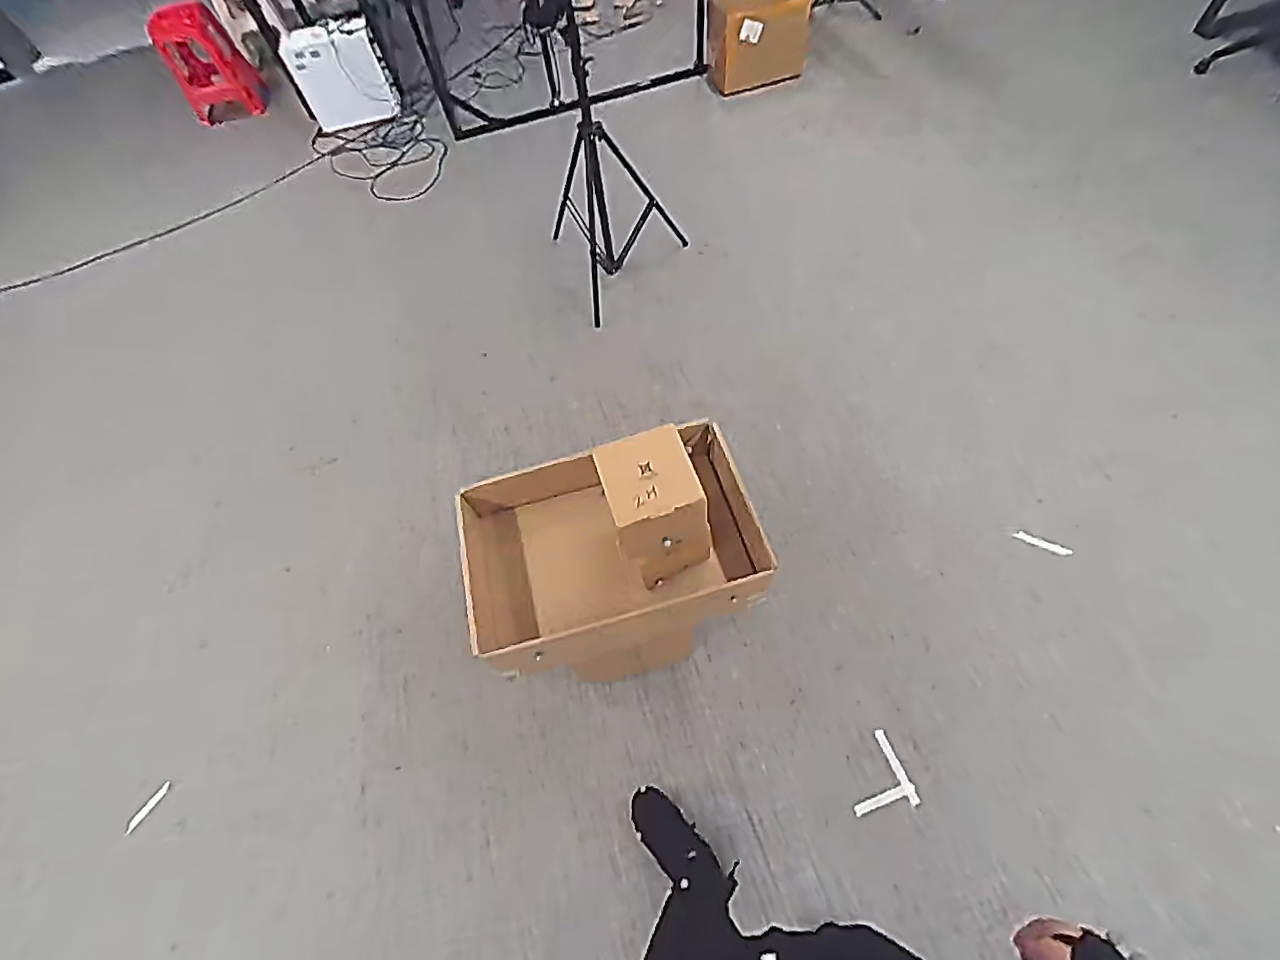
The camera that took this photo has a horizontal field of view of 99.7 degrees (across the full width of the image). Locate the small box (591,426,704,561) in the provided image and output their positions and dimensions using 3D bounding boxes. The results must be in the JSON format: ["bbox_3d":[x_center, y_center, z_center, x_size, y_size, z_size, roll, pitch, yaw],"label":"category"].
[{"bbox_3d":[0.016,0.031,1.038,0.168,0.176,0.179,-19,61,-3],"label":"small box"}]
